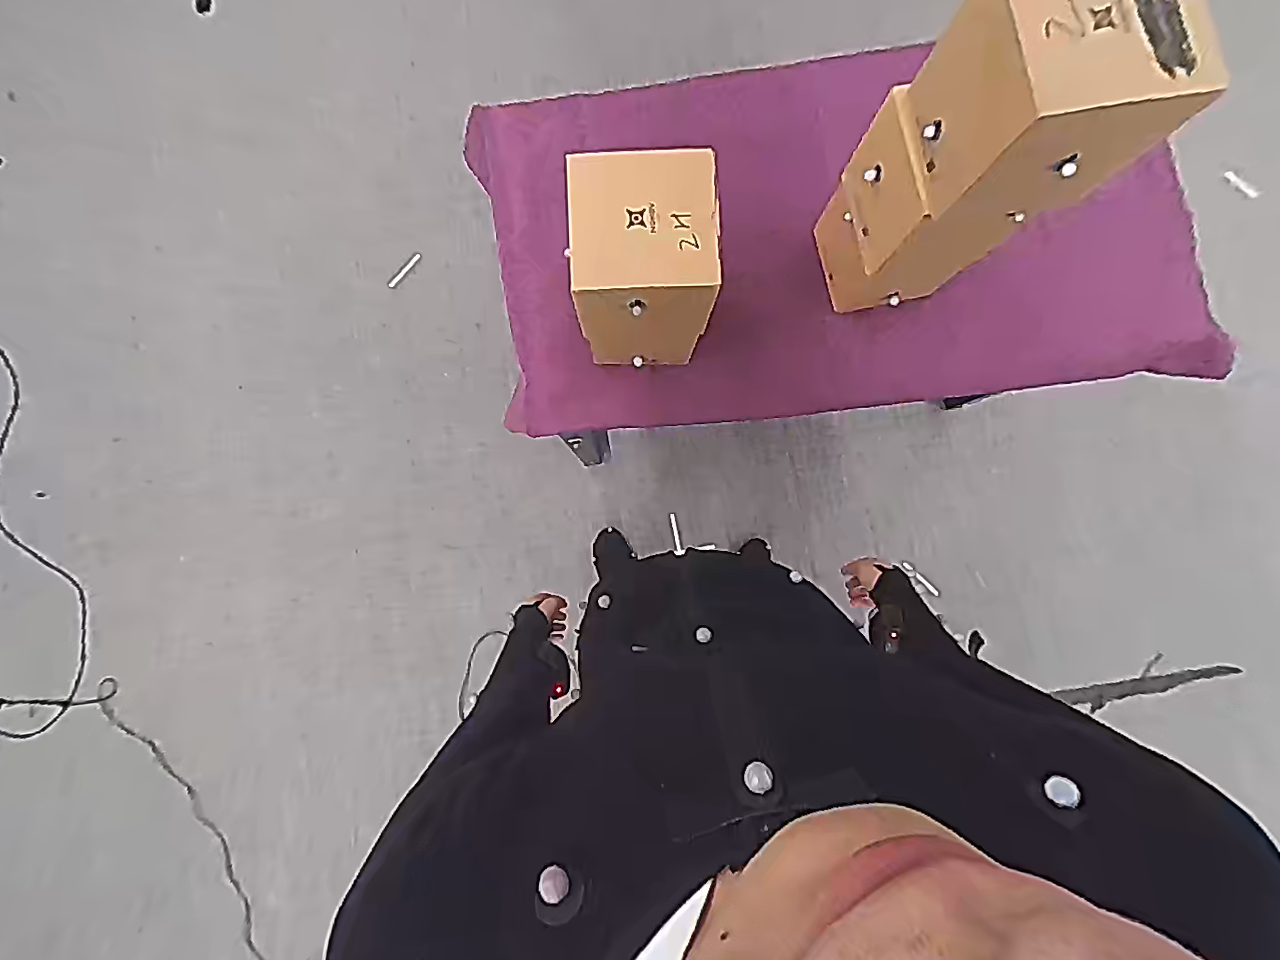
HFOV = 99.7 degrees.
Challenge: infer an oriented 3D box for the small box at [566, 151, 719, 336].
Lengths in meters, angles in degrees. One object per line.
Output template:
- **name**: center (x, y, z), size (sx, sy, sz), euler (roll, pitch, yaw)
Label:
- **small box**: center (0.002, -0.292, 0.701), size (0.179, 0.176, 0.168), euler (-2, 87, -1)

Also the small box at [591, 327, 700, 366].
- **small box**: center (0.004, -0.292, 0.866), size (0.168, 0.176, 0.179), euler (0, 87, -1)

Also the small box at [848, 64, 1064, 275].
- **small box**: center (0.396, -0.395, 0.717), size (0.179, 0.176, 0.168), euler (-12, 85, -2)

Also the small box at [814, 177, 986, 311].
- **small box**: center (0.410, -0.395, 0.880), size (0.179, 0.176, 0.168), euler (-12, 84, -2)
